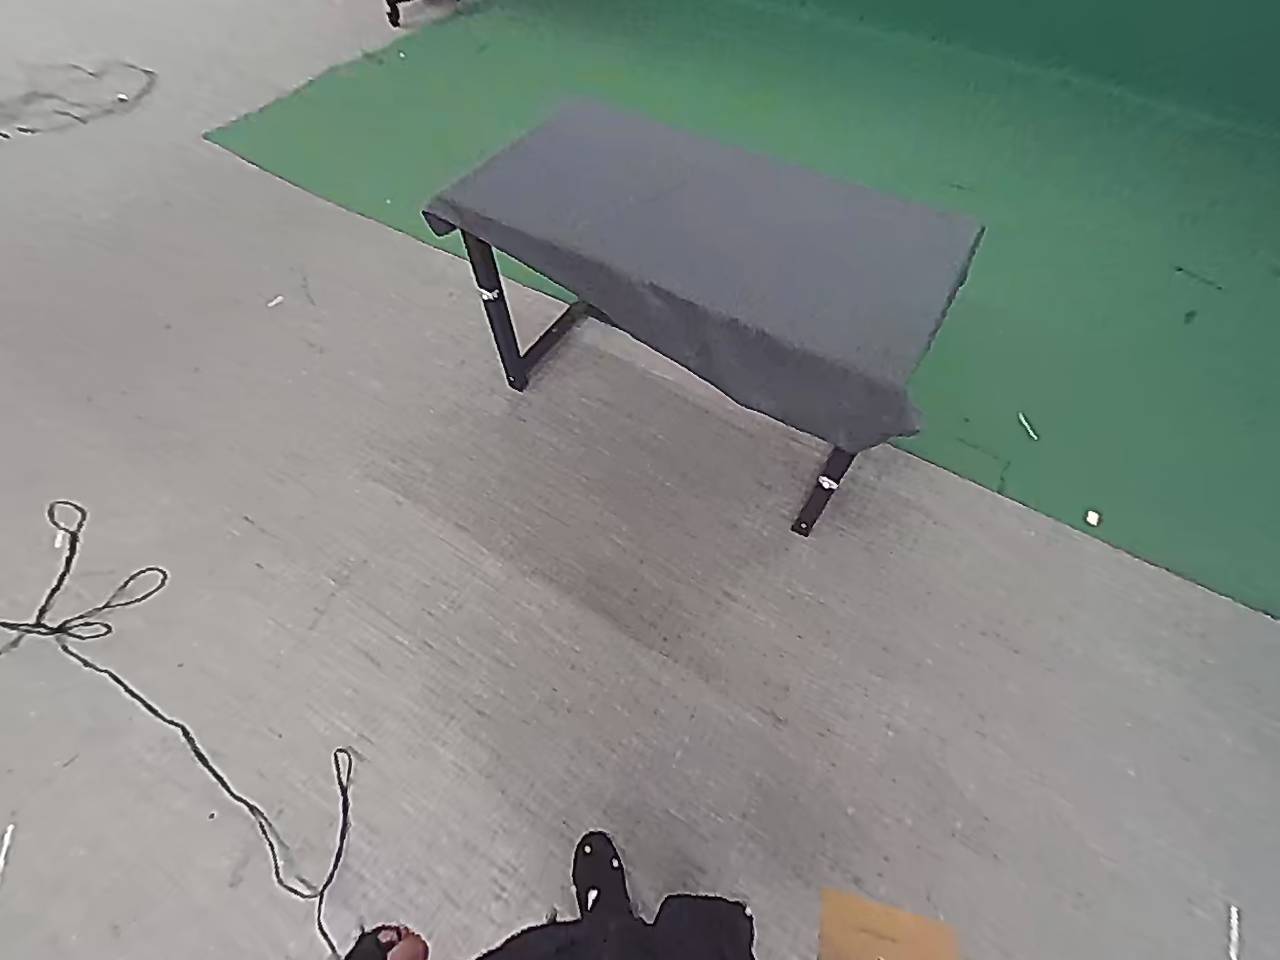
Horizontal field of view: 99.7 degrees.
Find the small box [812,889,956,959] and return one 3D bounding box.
[{"bbox_3d":[0.296,0.667,0.661,0.168,0.176,0.179,2,16,21],"label":"small box"}]
